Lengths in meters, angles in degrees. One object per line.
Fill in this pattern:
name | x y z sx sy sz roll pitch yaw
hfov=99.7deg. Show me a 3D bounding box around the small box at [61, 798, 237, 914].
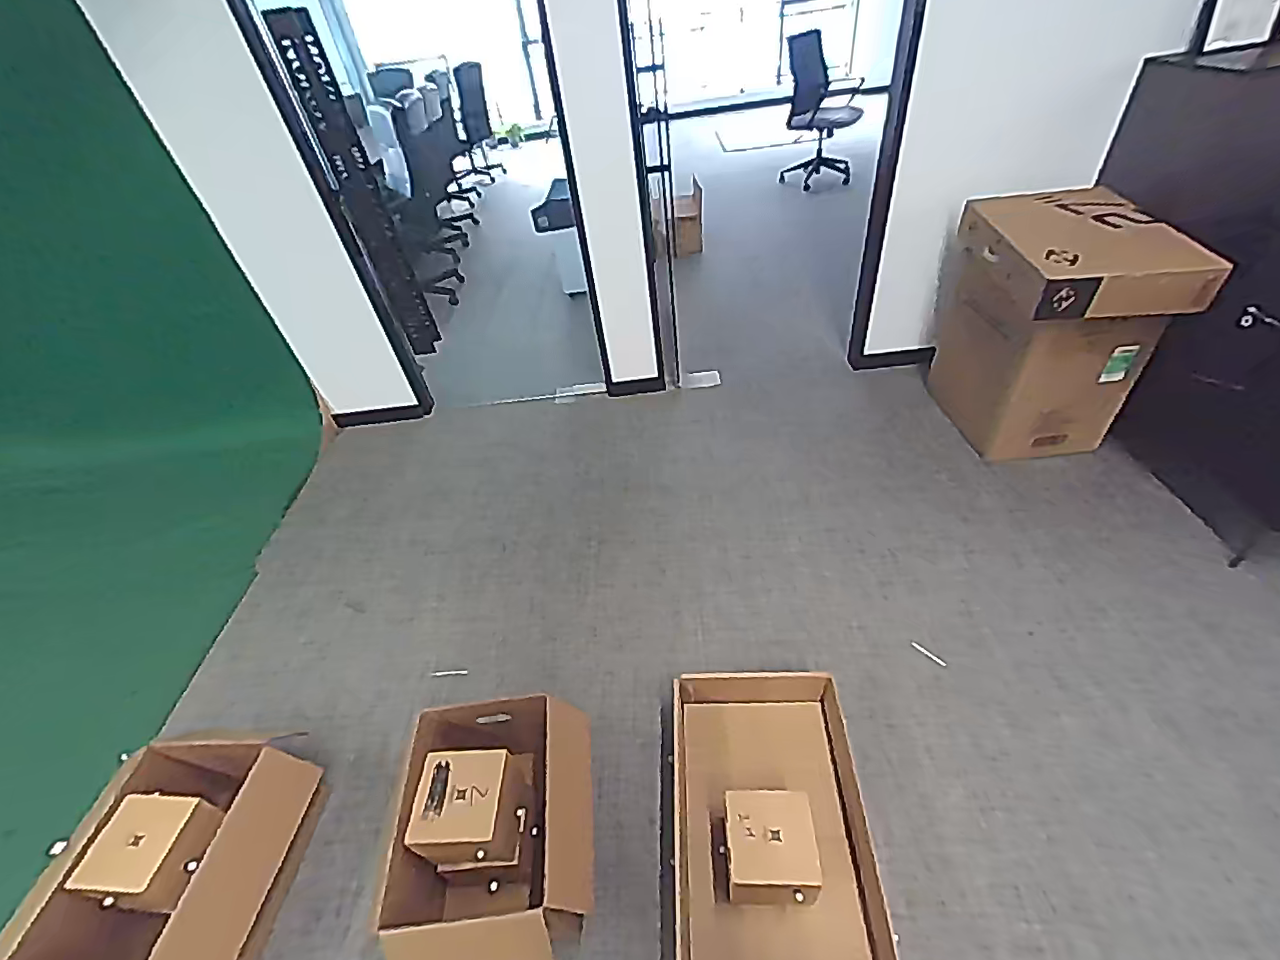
small box | -1.007 0.788 1.133 0.179 0.176 0.168 -2 42 6
